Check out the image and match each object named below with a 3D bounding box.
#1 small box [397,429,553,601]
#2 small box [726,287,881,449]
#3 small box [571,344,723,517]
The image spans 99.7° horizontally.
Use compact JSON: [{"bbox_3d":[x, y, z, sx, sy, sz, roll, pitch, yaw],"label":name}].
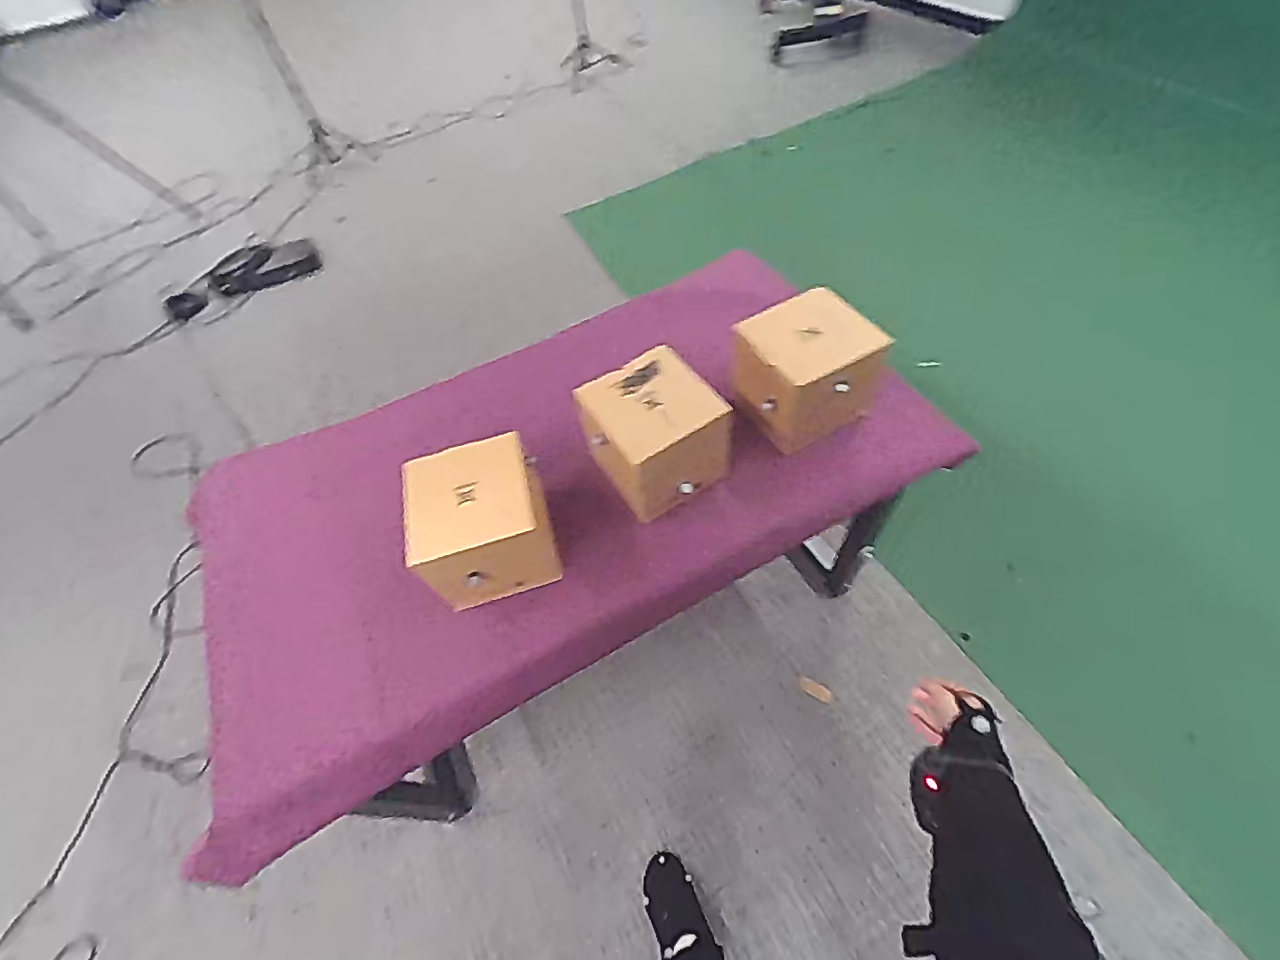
[{"bbox_3d":[-0.237,0.060,0.794,0.168,0.176,0.179,-17,55,-5],"label":"small box"},{"bbox_3d":[0.260,-0.180,0.899,0.179,0.176,0.168,-26,56,-11],"label":"small box"},{"bbox_3d":[0.012,-0.075,0.856,0.168,0.176,0.179,-31,59,-14],"label":"small box"}]
